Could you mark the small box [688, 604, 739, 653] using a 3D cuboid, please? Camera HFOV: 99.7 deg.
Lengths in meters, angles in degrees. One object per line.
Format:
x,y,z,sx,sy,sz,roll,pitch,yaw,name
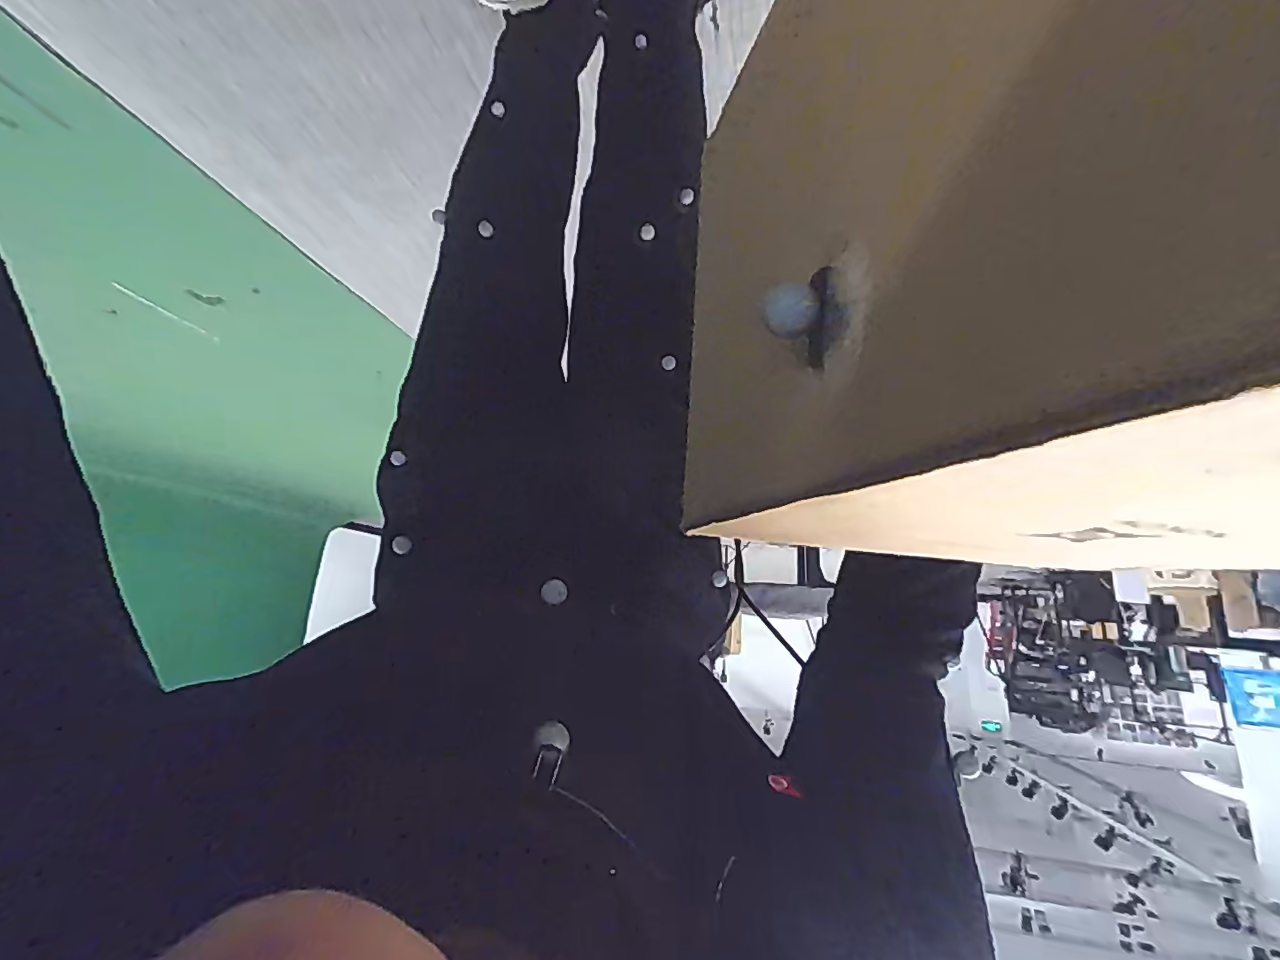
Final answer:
0.296,0.586,2.142,0.168,0.176,0.179,-2,165,22,small box
